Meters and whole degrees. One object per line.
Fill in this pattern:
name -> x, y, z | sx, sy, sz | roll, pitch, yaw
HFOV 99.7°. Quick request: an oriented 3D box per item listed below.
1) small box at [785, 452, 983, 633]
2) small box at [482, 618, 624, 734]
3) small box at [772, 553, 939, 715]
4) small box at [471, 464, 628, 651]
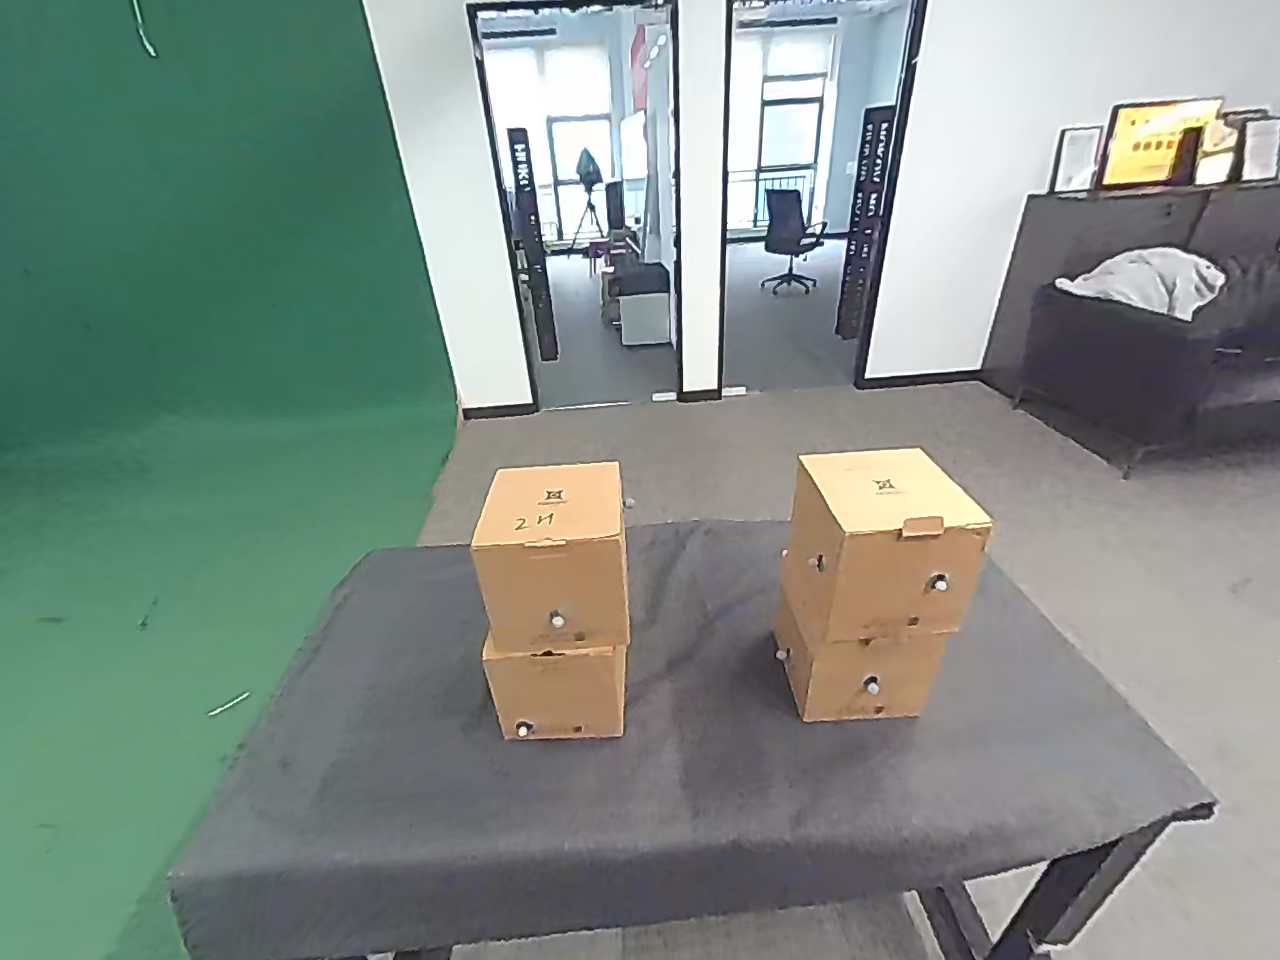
small box -> 0.293, 0.081, 0.693 | 0.168, 0.176, 0.179 | -3, 30, -1
small box -> -0.111, 0.243, 0.778 | 0.168, 0.176, 0.179 | -2, 29, 2
small box -> 0.295, 0.219, 0.780 | 0.168, 0.176, 0.179 | -3, 31, 0
small box -> -0.104, 0.096, 0.703 | 0.168, 0.176, 0.179 | -4, 30, -1
